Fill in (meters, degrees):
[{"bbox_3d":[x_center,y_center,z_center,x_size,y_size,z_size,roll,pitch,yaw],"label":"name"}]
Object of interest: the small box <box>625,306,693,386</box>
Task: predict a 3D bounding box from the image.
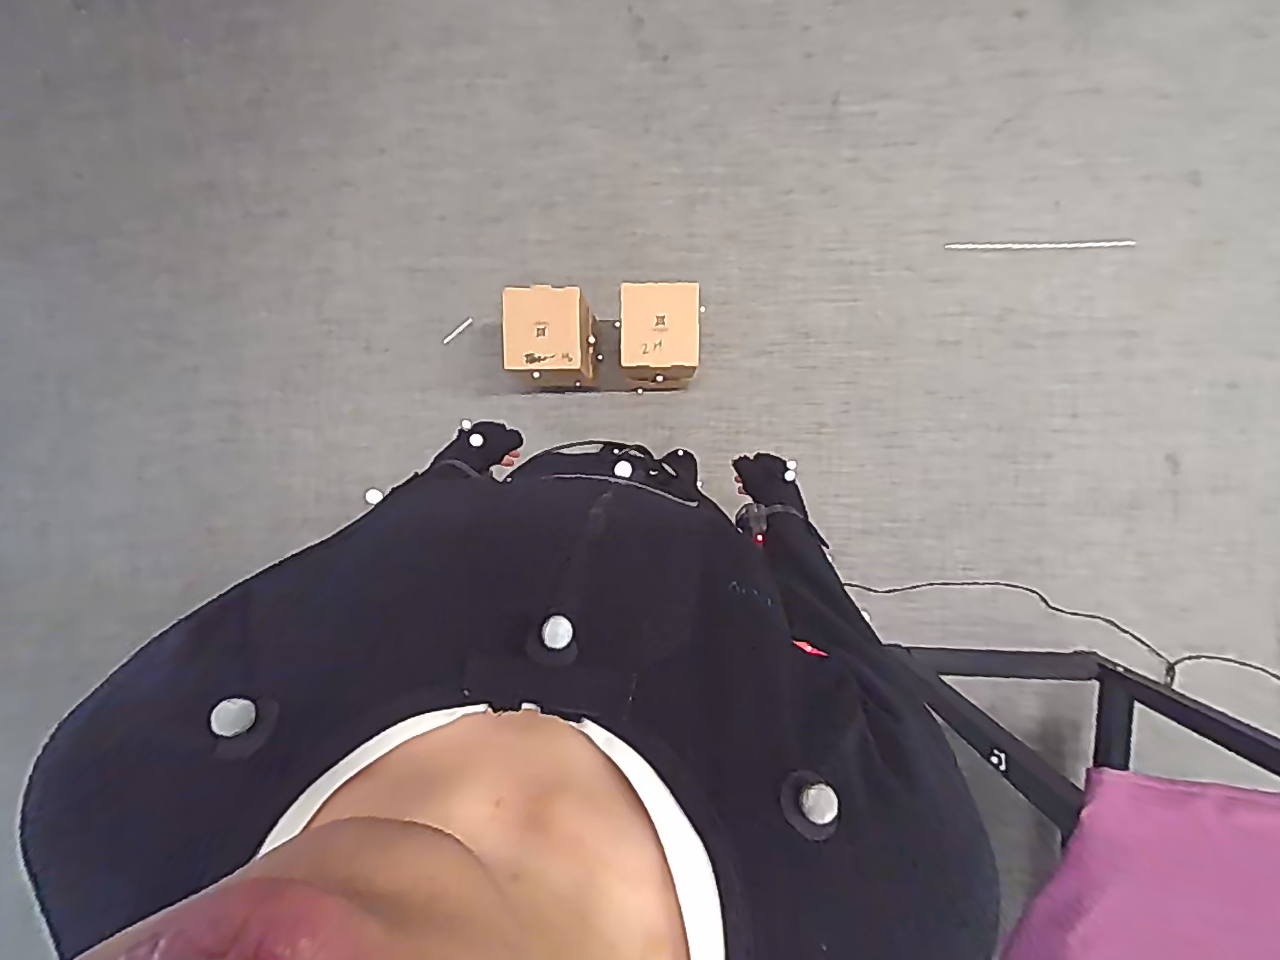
[{"bbox_3d":[0.048,-0.334,1.378,0.168,0.176,0.179,0,92,1],"label":"small box"}]
